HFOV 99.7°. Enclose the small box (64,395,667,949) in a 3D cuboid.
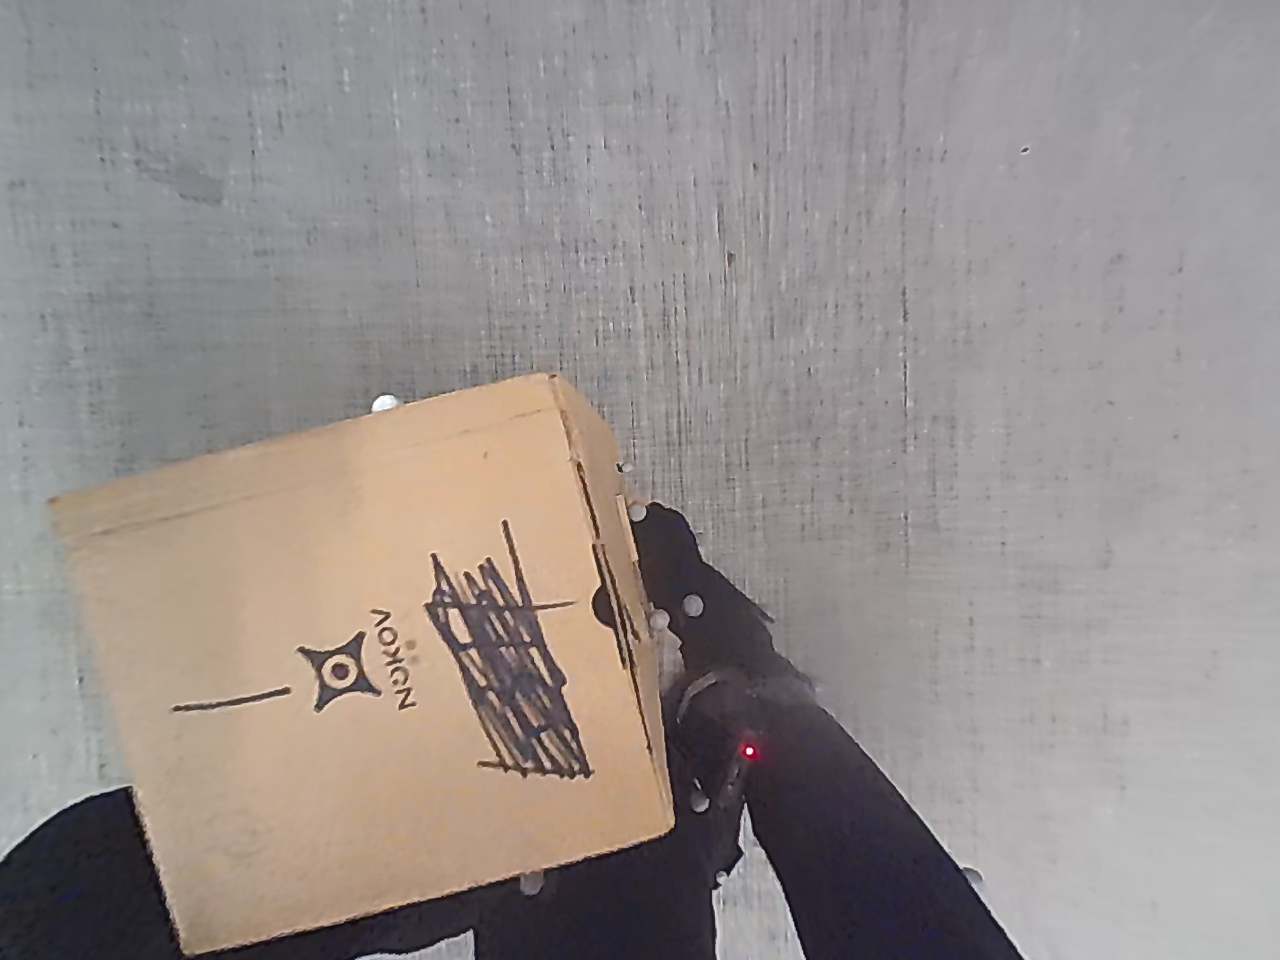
[{"bbox_3d":[-0.093,0.063,0.266,0.179,0.176,0.168,-14,92,1],"label":"small box"}]
